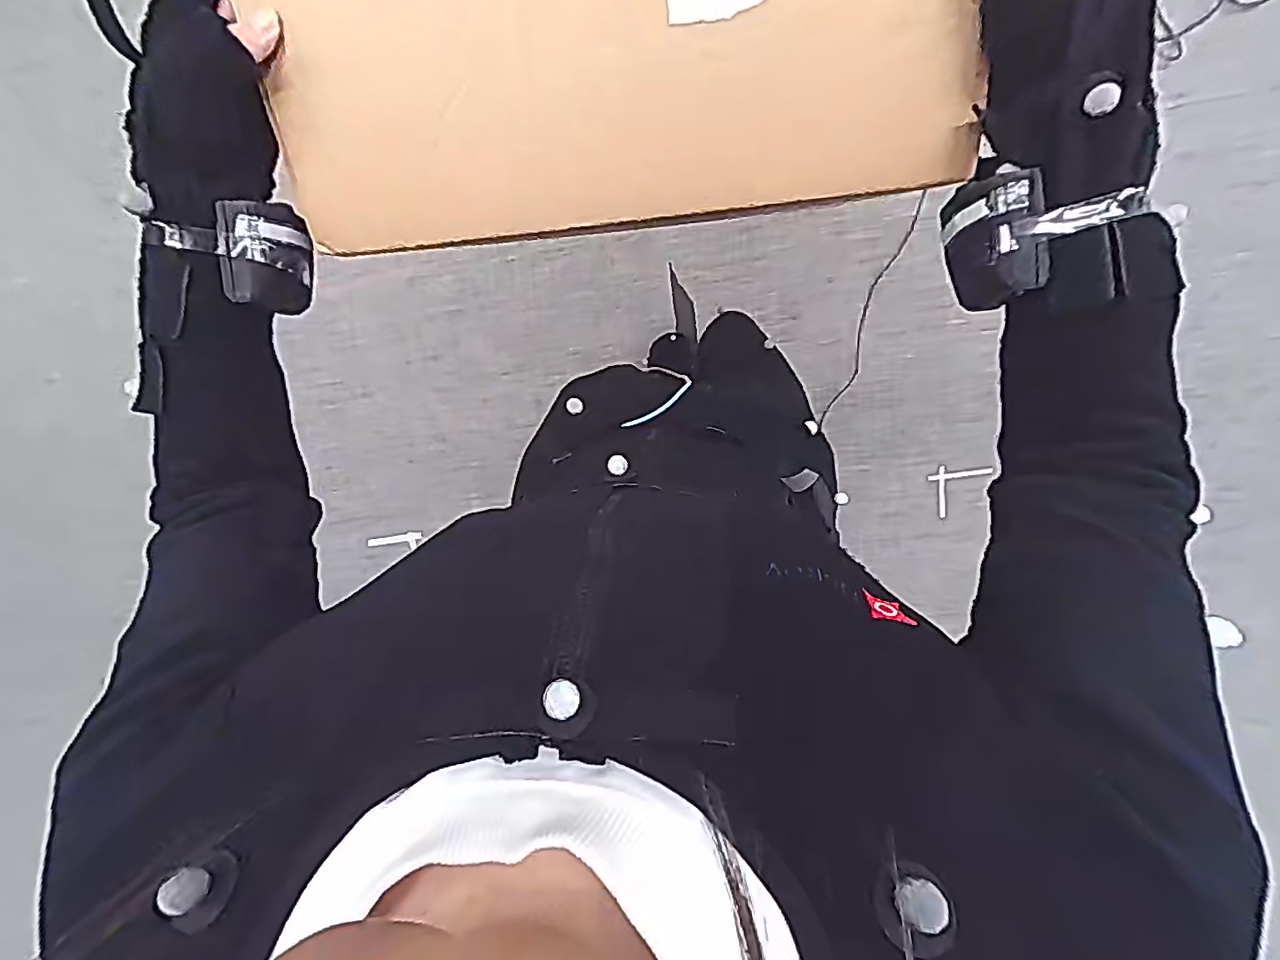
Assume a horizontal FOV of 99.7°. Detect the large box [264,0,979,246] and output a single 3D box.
[{"bbox_3d":[-0.012,-0.374,0.415,0.408,0.320,0.320,-3,115,8],"label":"large box"}]
